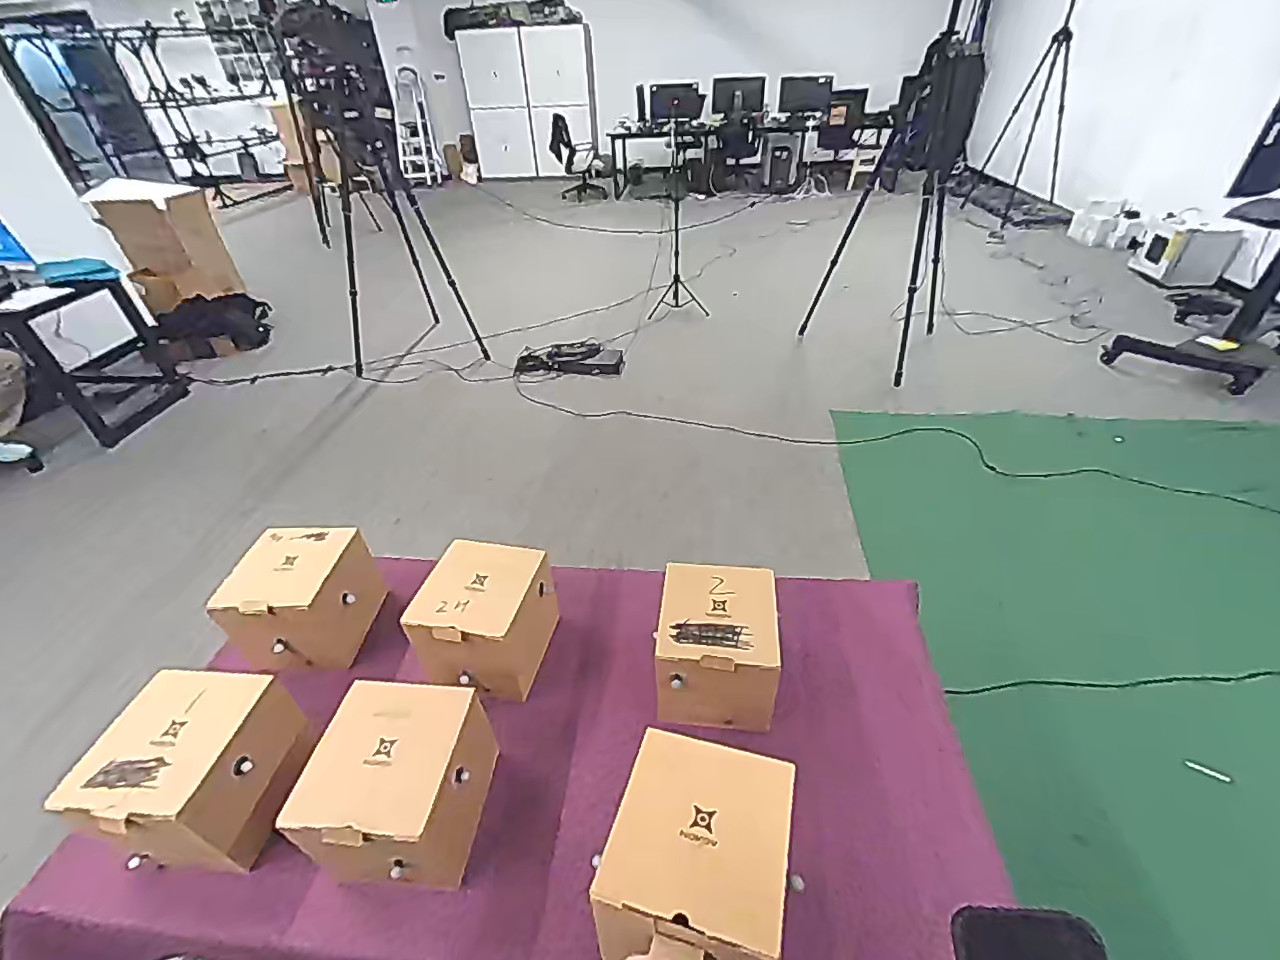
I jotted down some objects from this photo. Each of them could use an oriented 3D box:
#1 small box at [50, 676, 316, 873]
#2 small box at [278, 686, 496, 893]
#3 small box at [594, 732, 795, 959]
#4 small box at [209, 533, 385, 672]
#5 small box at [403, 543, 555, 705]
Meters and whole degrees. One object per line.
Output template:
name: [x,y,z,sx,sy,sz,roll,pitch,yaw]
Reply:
small box: [-0.569,0.384,0.709,0.168,0.176,0.179,1,37,5]
small box: [-0.296,0.389,0.682,0.168,0.176,0.179,2,37,6]
small box: [0.063,0.407,0.562,0.168,0.176,0.179,6,31,17]
small box: [-0.568,0.212,0.929,0.168,0.176,0.179,-1,39,3]
small box: [-0.245,0.230,0.879,0.168,0.176,0.179,5,39,12]
